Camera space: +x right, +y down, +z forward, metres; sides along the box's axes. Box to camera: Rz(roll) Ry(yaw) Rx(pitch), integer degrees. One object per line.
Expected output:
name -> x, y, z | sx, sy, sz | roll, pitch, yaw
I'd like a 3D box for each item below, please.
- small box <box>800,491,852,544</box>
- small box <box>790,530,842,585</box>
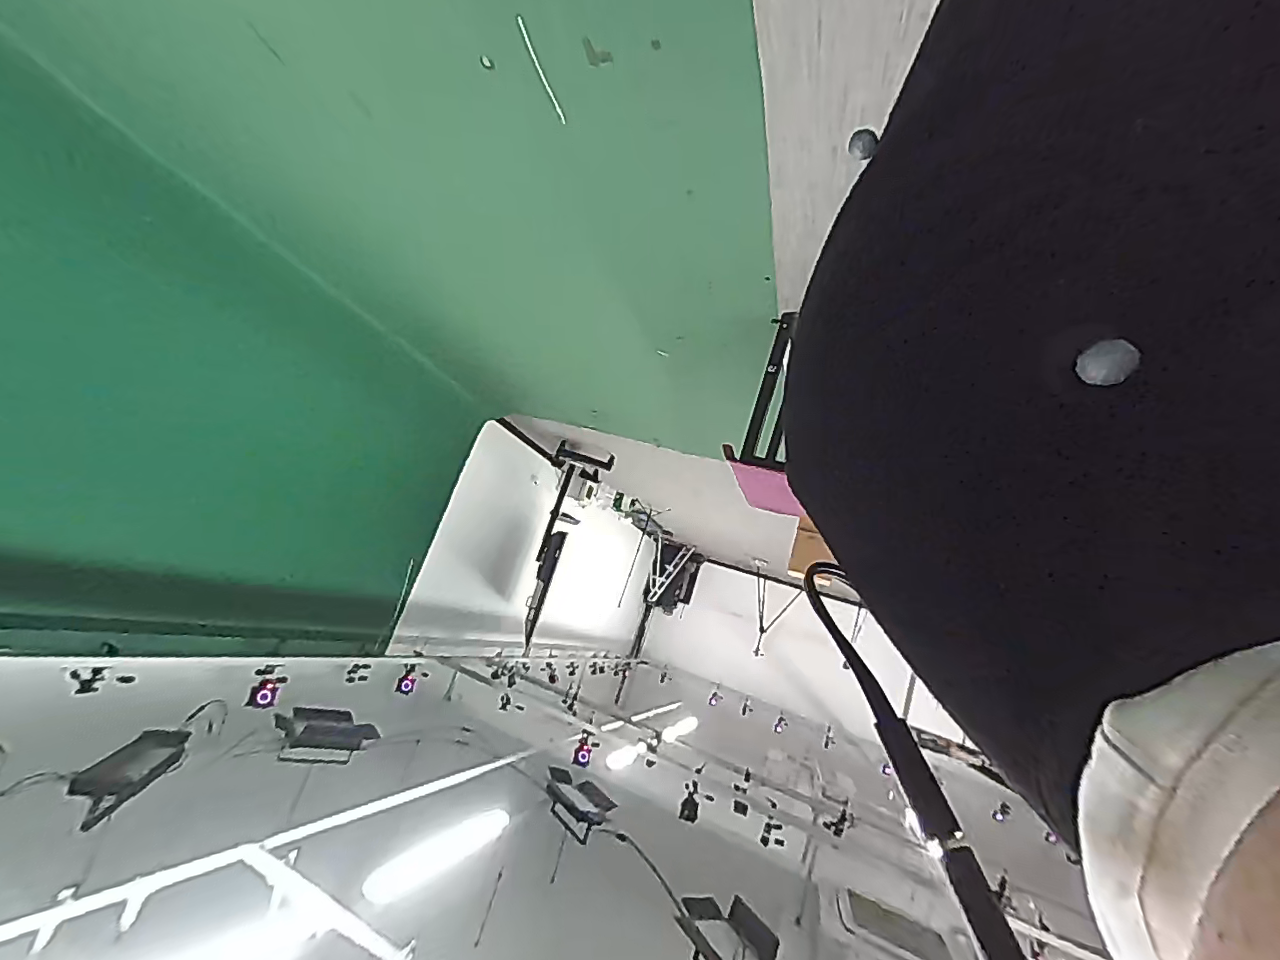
small box -> 0.752, 0.155, 2.188 | 0.168, 0.176, 0.179 | 13, 168, 24
small box -> 0.698, 0.306, 2.147 | 0.168, 0.176, 0.179 | 14, 169, 20
